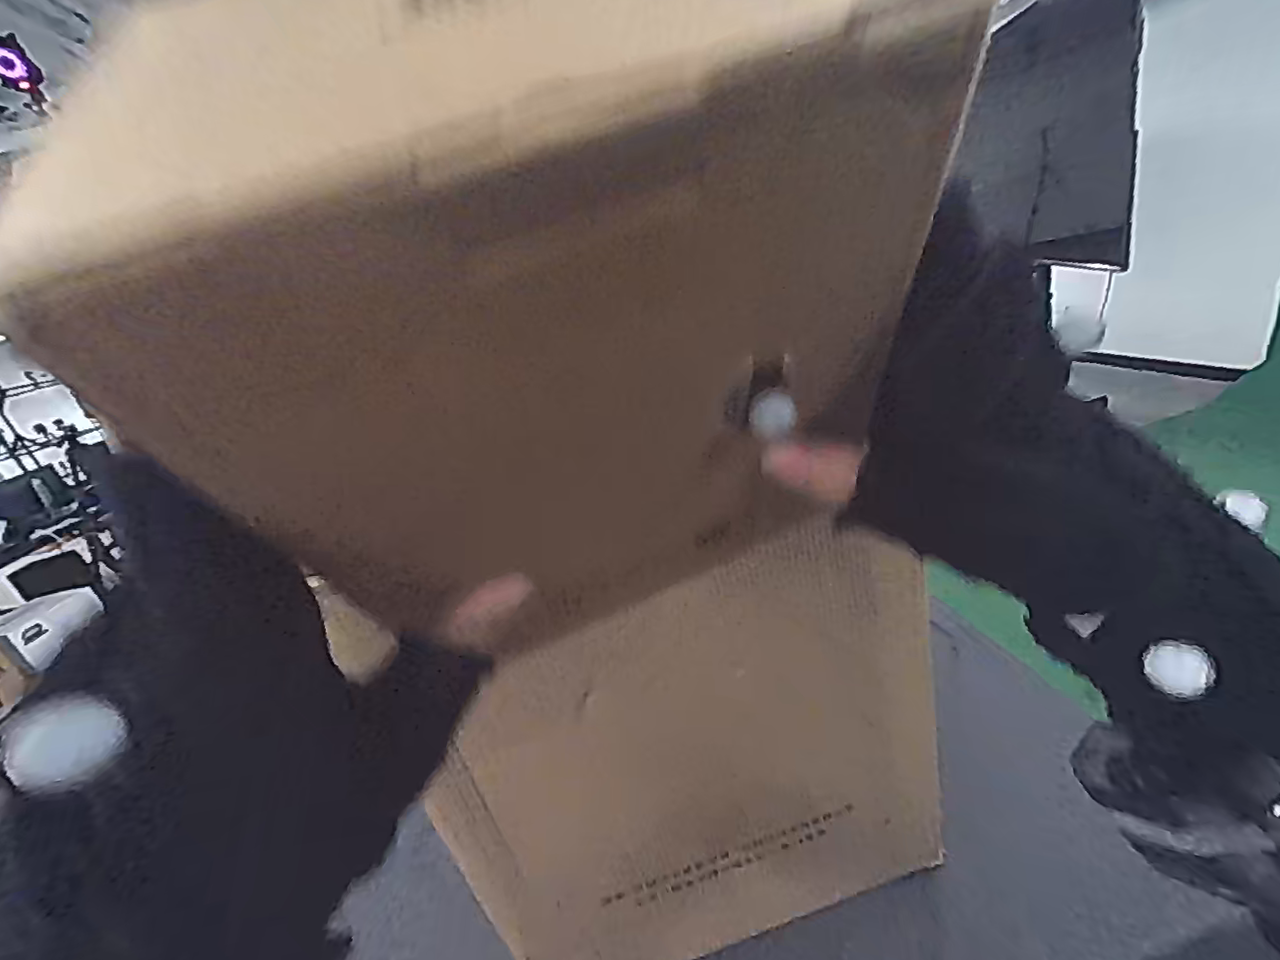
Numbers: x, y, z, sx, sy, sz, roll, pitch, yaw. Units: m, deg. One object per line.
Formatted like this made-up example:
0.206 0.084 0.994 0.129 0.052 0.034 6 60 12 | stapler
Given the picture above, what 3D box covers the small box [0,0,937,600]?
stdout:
-0.042 -0.077 0.195 0.168 0.176 0.179 -21 55 -8 | small box
